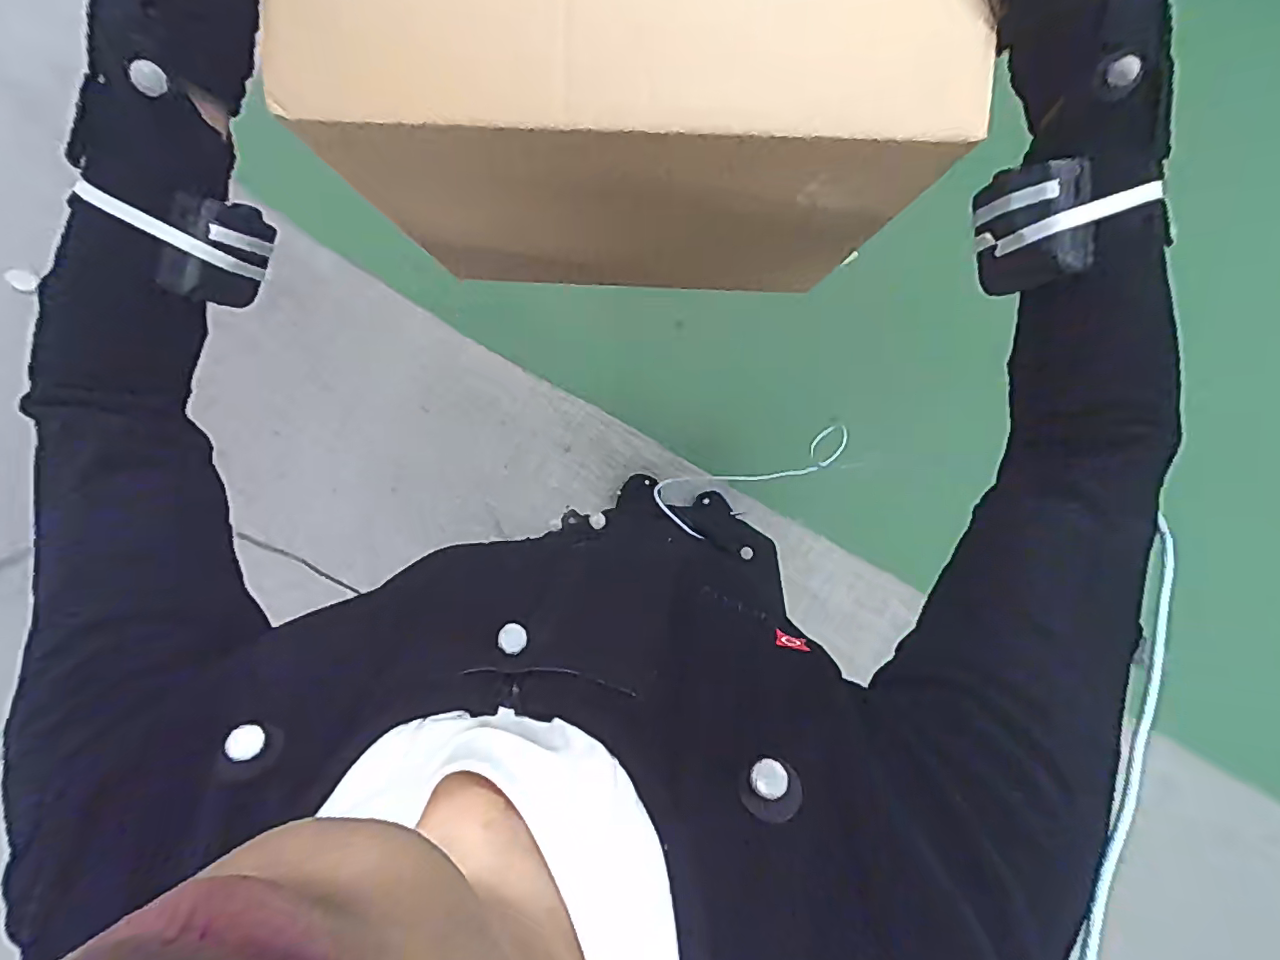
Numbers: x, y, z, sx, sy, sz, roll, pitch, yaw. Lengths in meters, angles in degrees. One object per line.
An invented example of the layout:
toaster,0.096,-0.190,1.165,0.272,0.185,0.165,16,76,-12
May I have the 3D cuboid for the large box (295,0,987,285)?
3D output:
large box,0.003,-0.369,0.453,0.408,0.320,0.320,3,94,-2
